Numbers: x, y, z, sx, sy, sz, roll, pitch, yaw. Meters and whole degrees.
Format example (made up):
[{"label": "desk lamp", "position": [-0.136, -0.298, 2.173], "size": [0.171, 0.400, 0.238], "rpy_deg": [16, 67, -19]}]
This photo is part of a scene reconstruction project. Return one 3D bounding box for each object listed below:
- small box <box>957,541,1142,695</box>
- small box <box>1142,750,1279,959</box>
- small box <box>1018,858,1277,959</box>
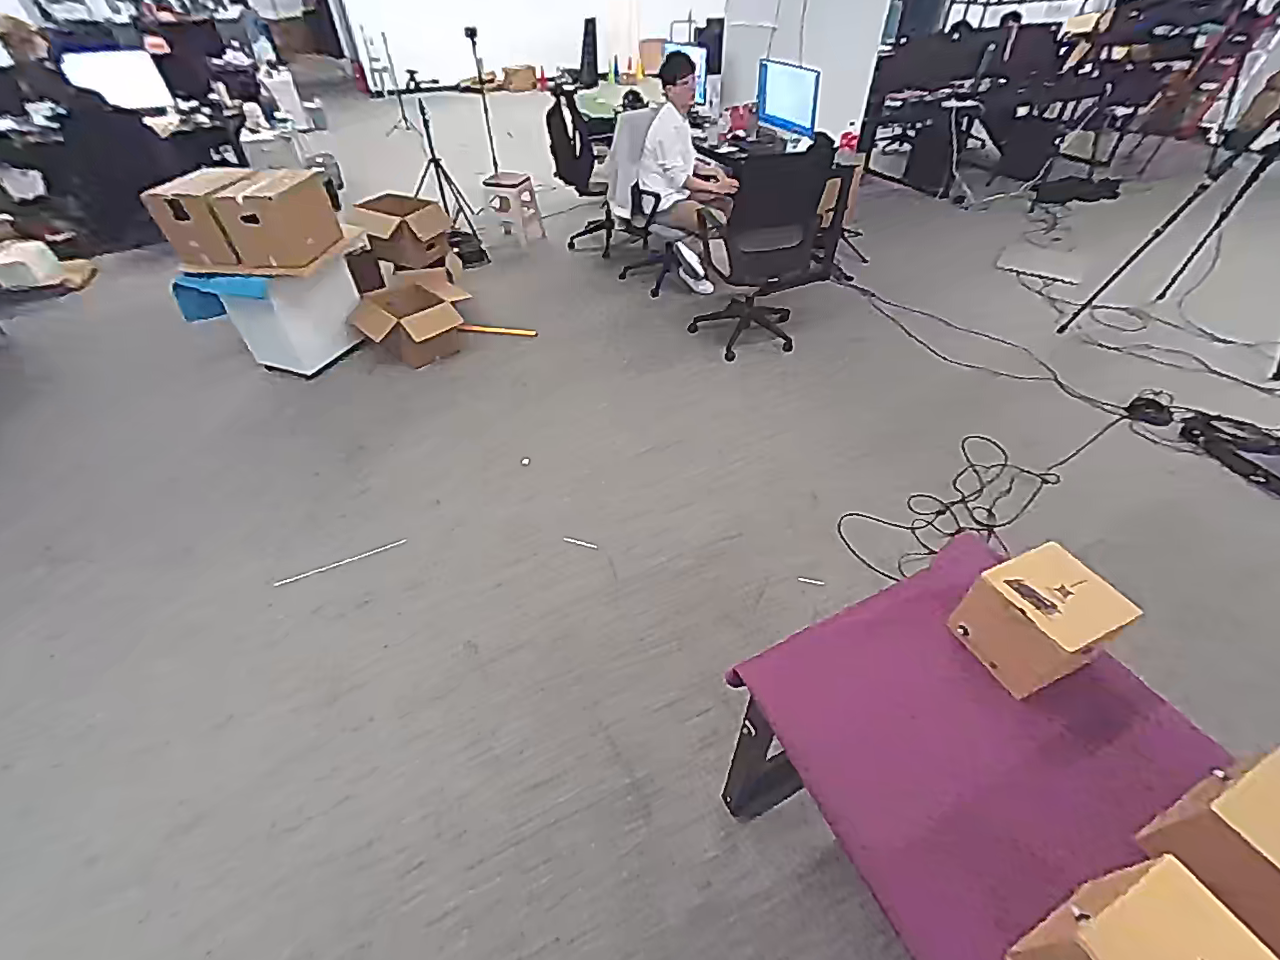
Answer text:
[{"label": "small box", "position": [0.692, 0.243, 0.943], "size": [0.179, 0.176, 0.168], "rpy_deg": [-18, 47, -15]}, {"label": "small box", "position": [0.817, 0.484, 0.695], "size": [0.179, 0.176, 0.168], "rpy_deg": [-19, 46, -17]}, {"label": "small box", "position": [0.579, 0.571, 0.607], "size": [0.179, 0.176, 0.168], "rpy_deg": [-19, 47, -18]}]
